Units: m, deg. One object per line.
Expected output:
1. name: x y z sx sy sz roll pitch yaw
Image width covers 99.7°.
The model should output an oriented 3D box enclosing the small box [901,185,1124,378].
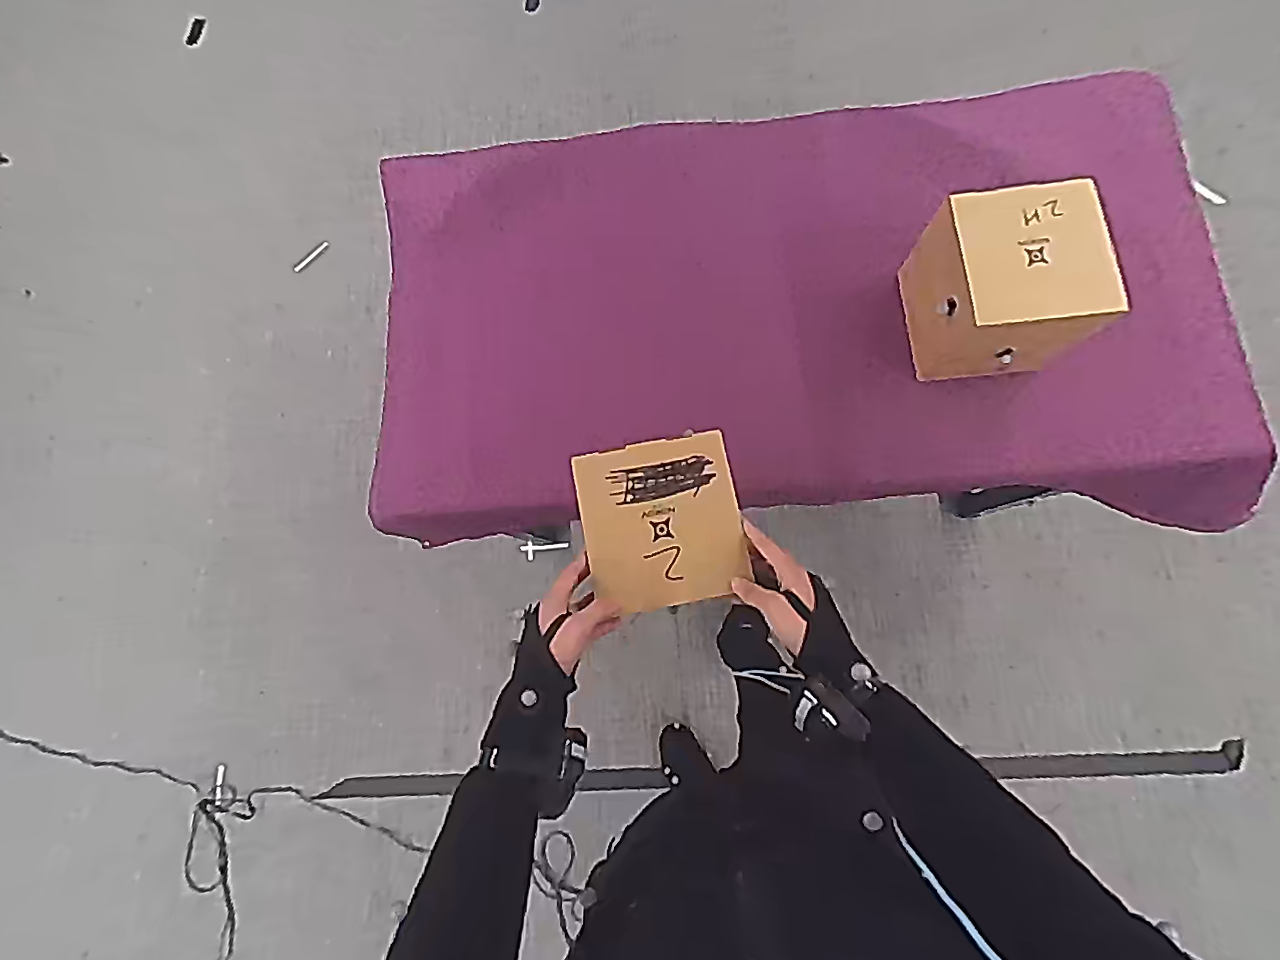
1. small box: 0.463 -0.242 0.704 0.168 0.176 0.179 -4 78 4
